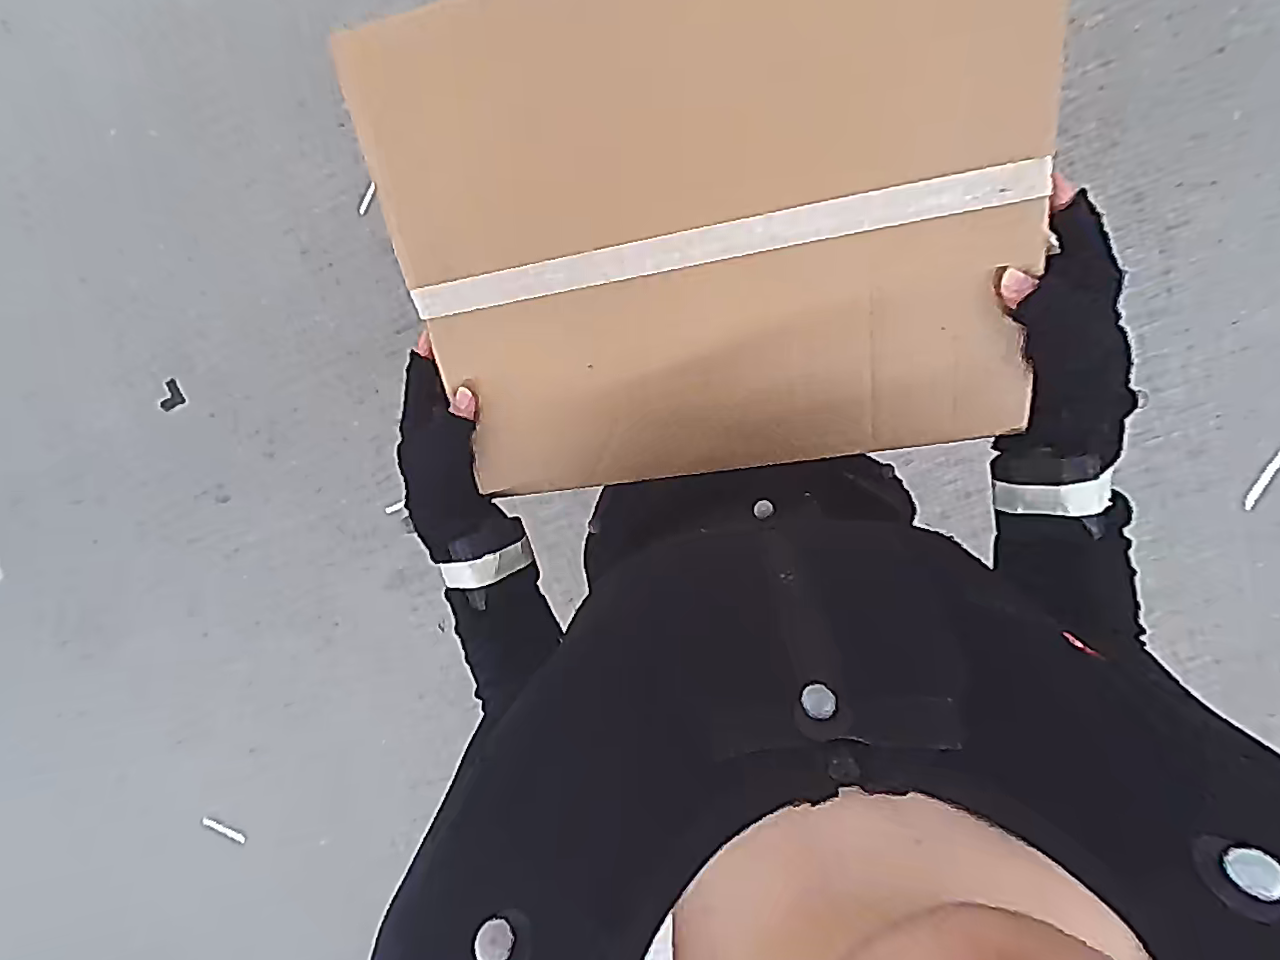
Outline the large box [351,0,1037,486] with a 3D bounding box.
[{"bbox_3d":[0.052,-0.218,0.494,0.408,0.320,0.320,-7,114,10],"label":"large box"}]
